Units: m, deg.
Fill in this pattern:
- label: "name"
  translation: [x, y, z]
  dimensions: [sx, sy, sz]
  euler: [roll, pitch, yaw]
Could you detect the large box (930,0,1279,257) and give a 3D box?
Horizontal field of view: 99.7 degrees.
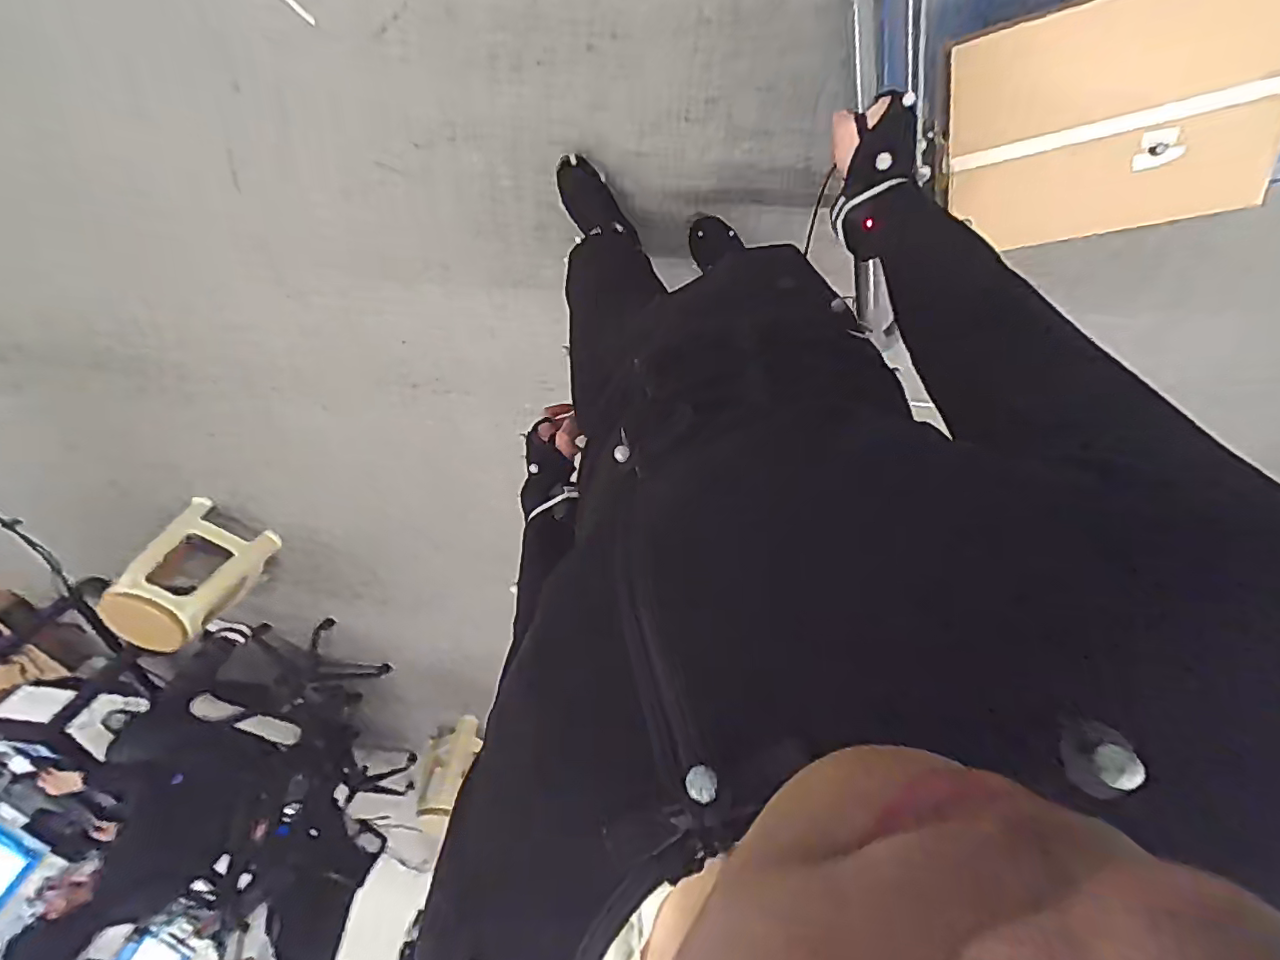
- label: "large box"
  translation: [0.730, -0.613, 0.917]
  dimensions: [0.408, 0.320, 0.320]
  euler: [-2, 126, 24]
